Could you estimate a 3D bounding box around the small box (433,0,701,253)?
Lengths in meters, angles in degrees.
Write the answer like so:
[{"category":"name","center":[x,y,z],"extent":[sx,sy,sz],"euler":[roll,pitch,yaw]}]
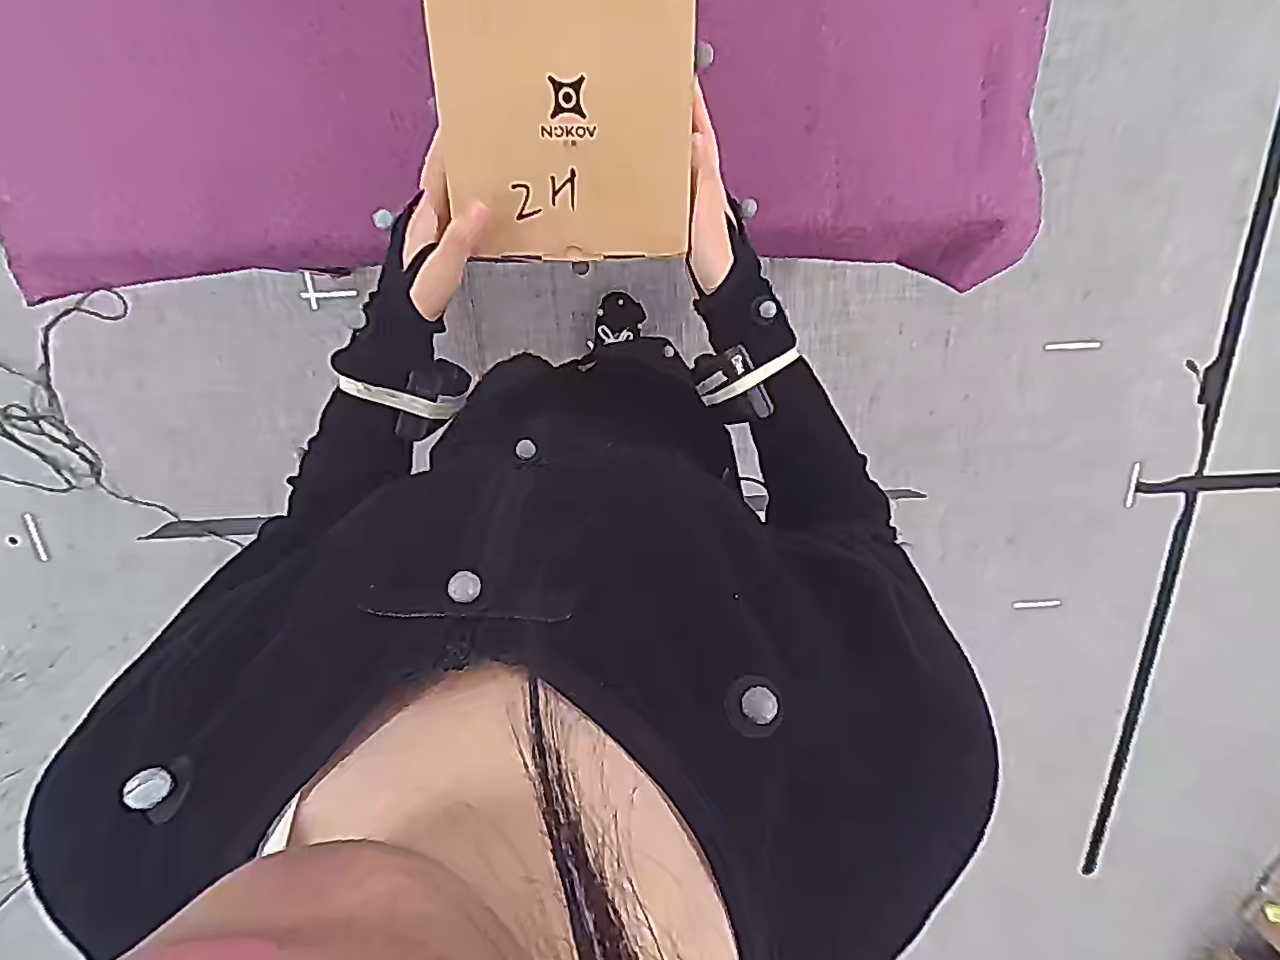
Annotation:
[{"category":"small box","center":[-0.049,-0.274,0.421],"extent":[0.168,0.176,0.179],"euler":[-1,113,-2]}]
